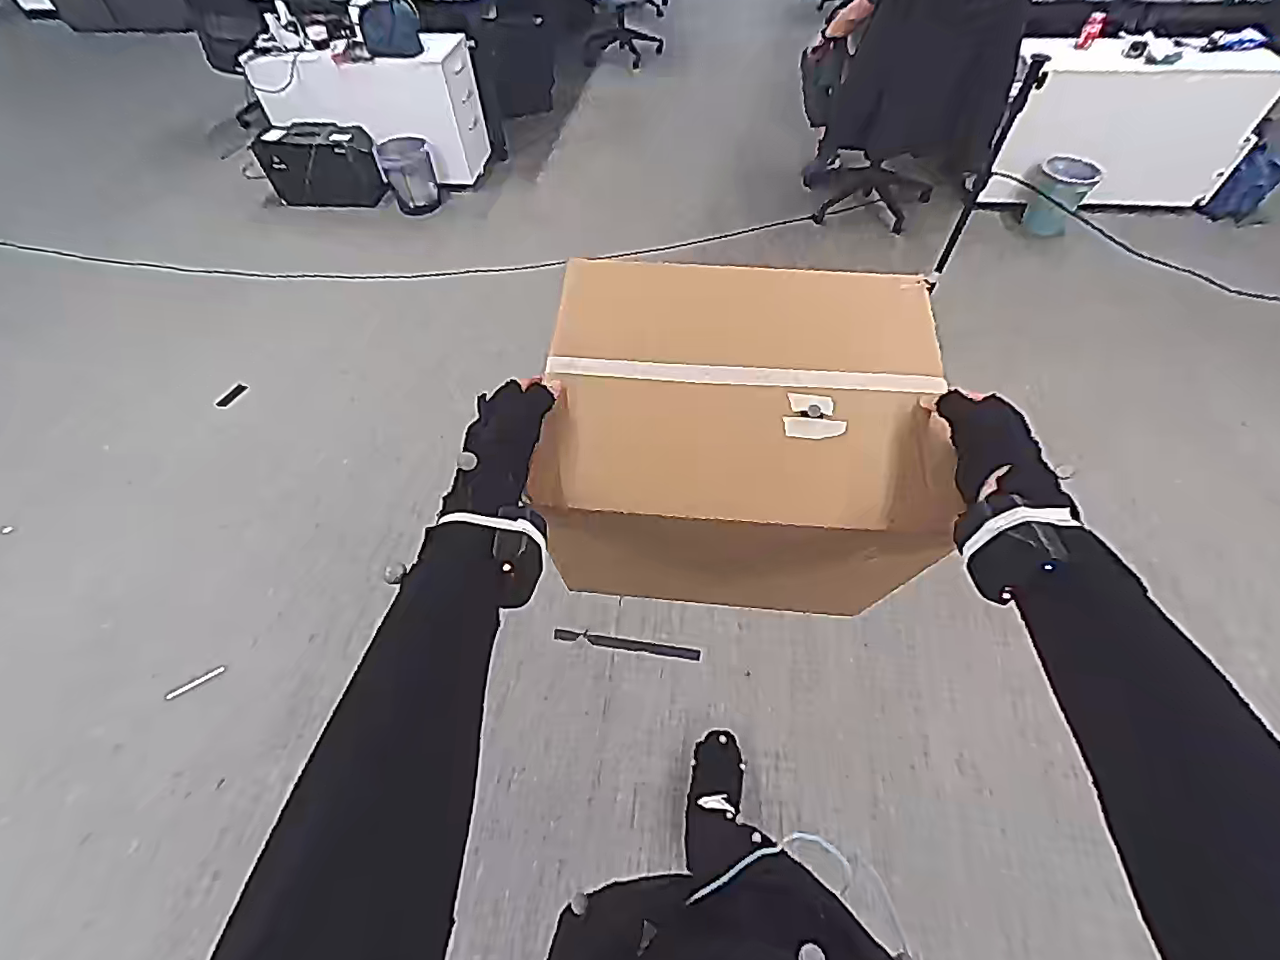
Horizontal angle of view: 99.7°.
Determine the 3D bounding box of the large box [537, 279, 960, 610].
[{"bbox_3d":[0.110,-0.029,0.703,0.408,0.320,0.320,4,64,3],"label":"large box"}]
